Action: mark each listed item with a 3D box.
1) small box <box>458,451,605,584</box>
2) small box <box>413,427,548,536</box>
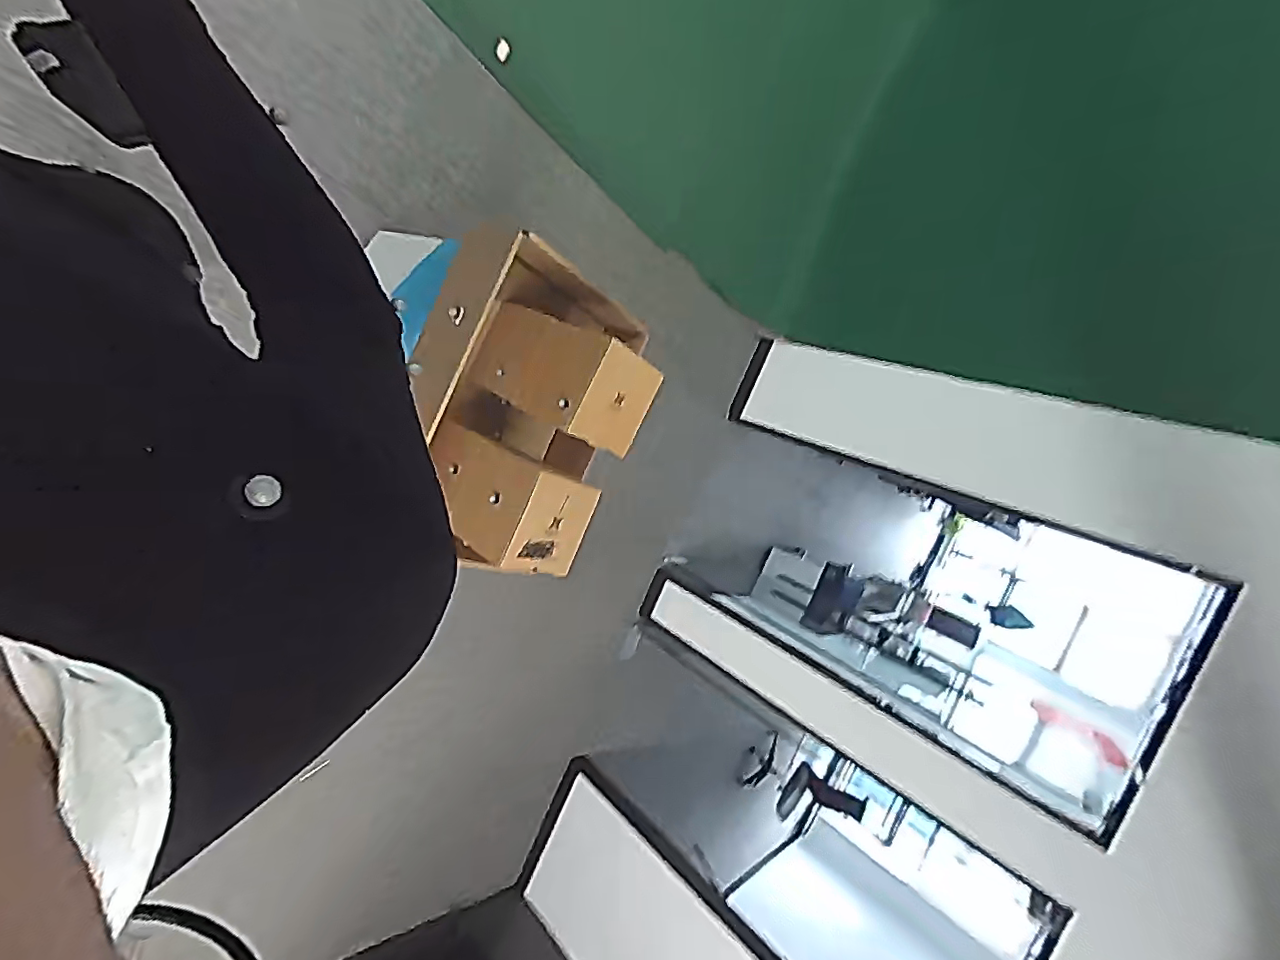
[{"bbox_3d":[-0.200,0.068,0.979,0.168,0.176,0.179,23,91,-53],"label":"small box"},{"bbox_3d":[-0.319,0.012,1.076,0.168,0.176,0.179,25,89,-53],"label":"small box"}]
